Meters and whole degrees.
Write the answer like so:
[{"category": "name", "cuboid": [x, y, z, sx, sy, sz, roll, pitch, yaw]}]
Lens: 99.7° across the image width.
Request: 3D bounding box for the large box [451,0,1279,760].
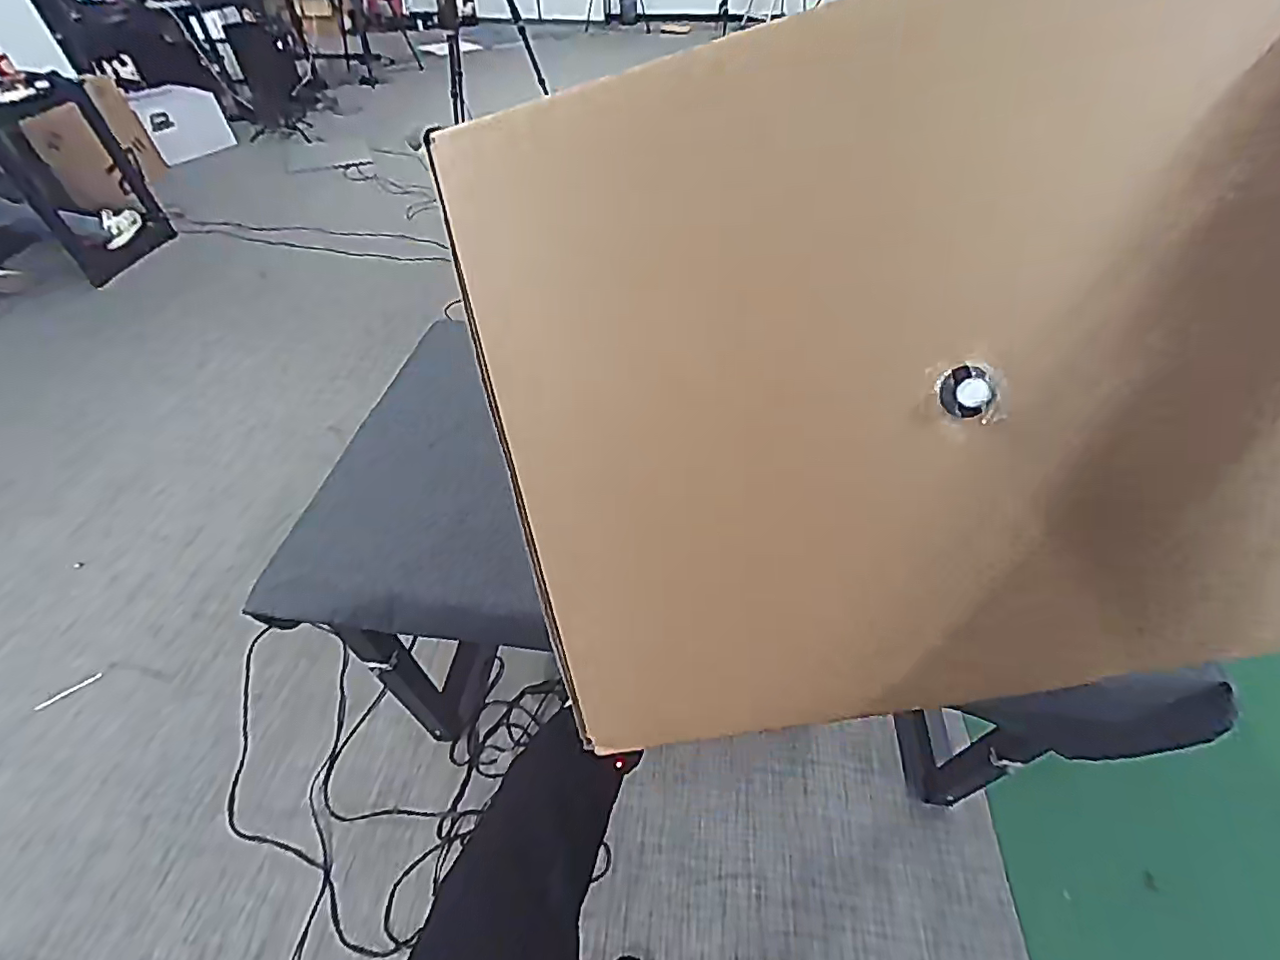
[{"category": "large box", "cuboid": [0.154, -0.061, 0.390, 0.408, 0.320, 0.320, -14, 6, 7]}]
